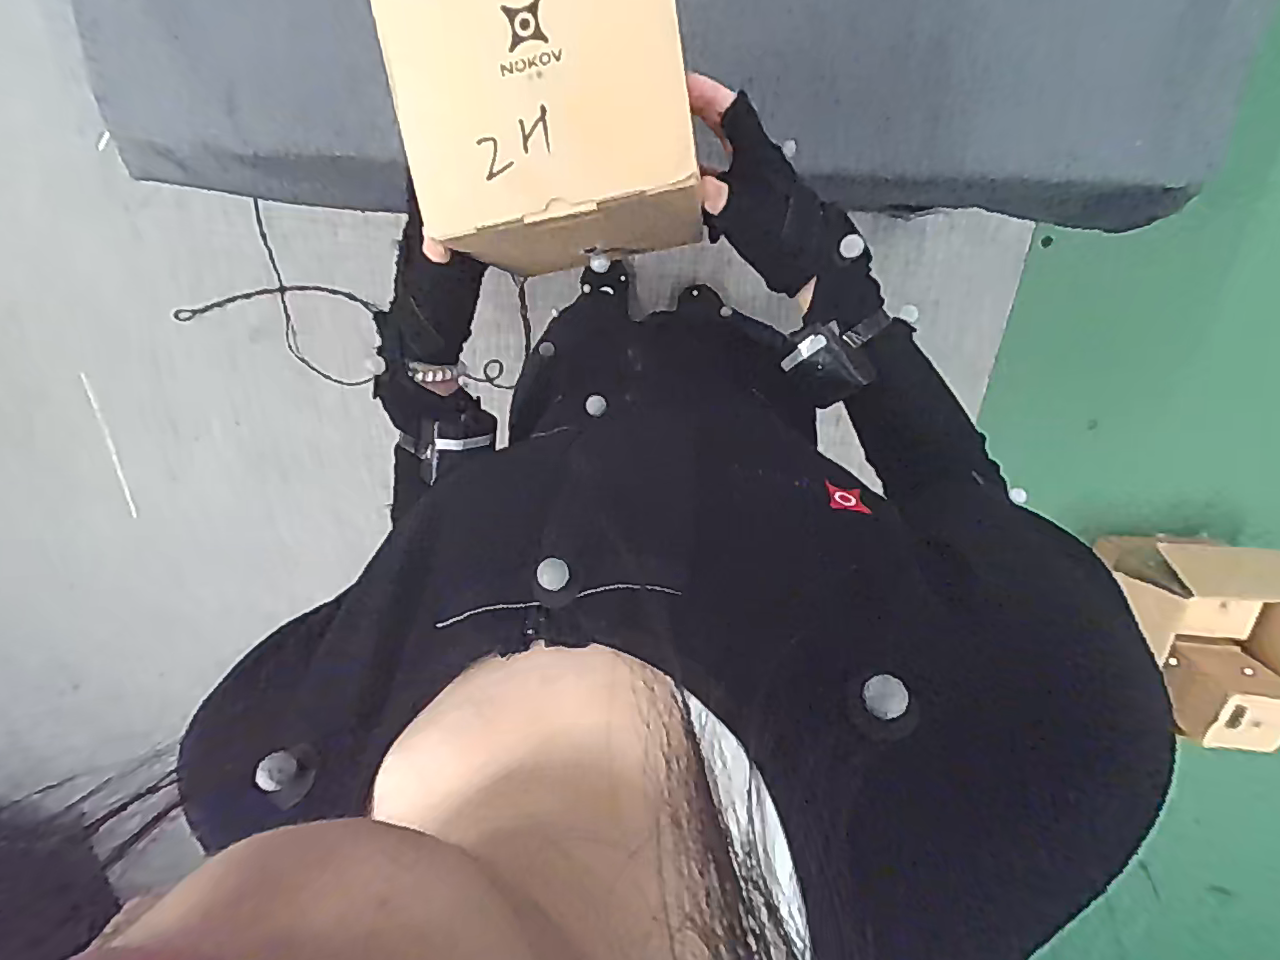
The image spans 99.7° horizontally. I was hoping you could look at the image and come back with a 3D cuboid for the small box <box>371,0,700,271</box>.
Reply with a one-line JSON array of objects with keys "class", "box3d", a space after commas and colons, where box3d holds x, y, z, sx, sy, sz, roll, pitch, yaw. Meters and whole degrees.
[{"class": "small box", "box3d": [-0.052, -0.258, 0.368, 0.168, 0.176, 0.179, -8, 103, 10]}]
